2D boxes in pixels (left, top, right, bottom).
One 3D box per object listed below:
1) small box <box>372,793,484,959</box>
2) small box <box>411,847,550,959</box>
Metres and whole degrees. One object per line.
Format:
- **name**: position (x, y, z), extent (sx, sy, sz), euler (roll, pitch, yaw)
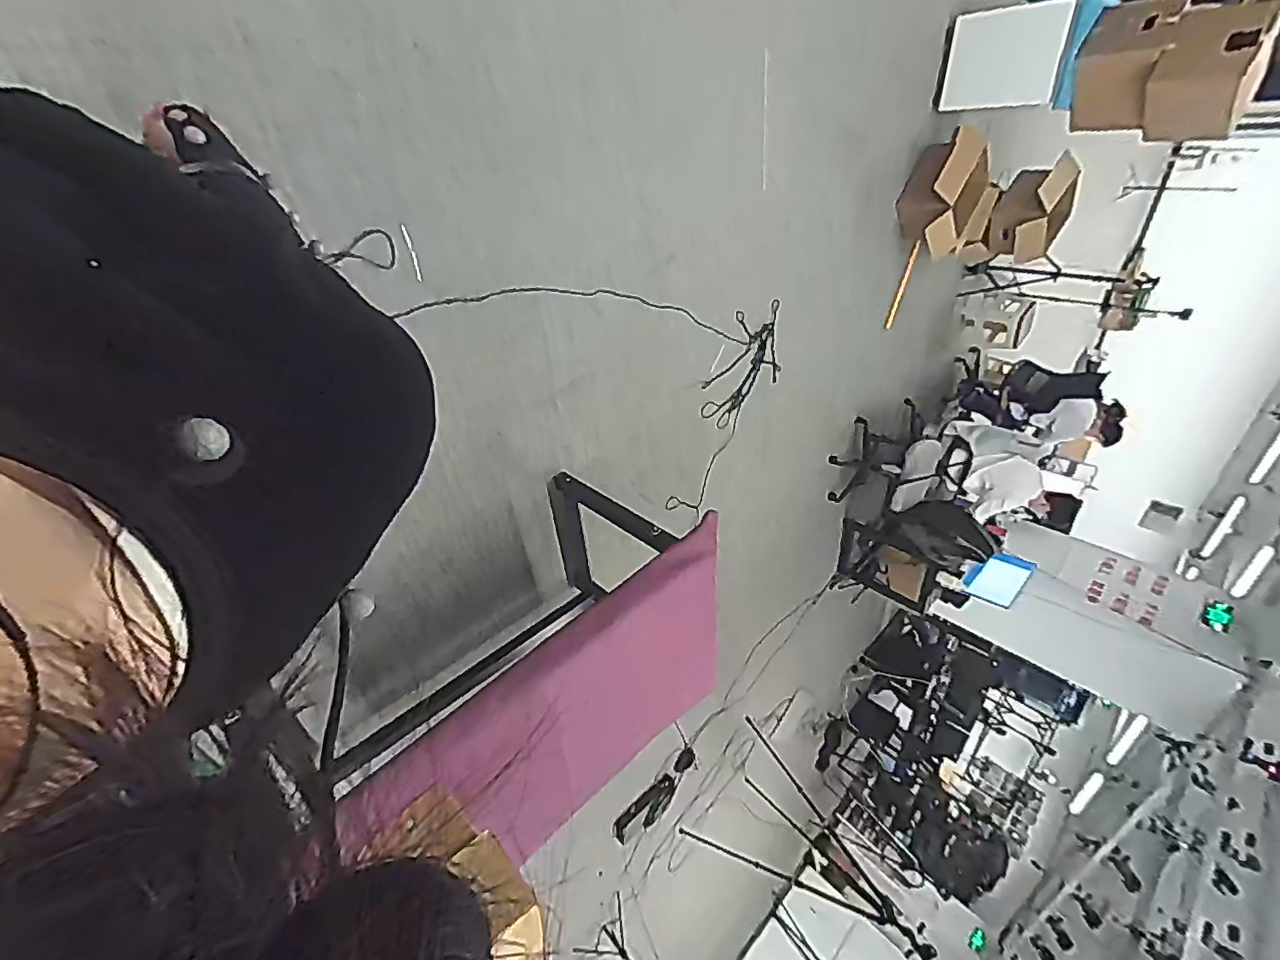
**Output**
- **small box**: position (-0.398, 0.768, 1.057), extent (0.179, 0.176, 0.168), euler (-32, 132, -32)
- **small box**: position (-0.277, 0.803, 0.951), extent (0.168, 0.176, 0.179), euler (-25, 127, -38)
